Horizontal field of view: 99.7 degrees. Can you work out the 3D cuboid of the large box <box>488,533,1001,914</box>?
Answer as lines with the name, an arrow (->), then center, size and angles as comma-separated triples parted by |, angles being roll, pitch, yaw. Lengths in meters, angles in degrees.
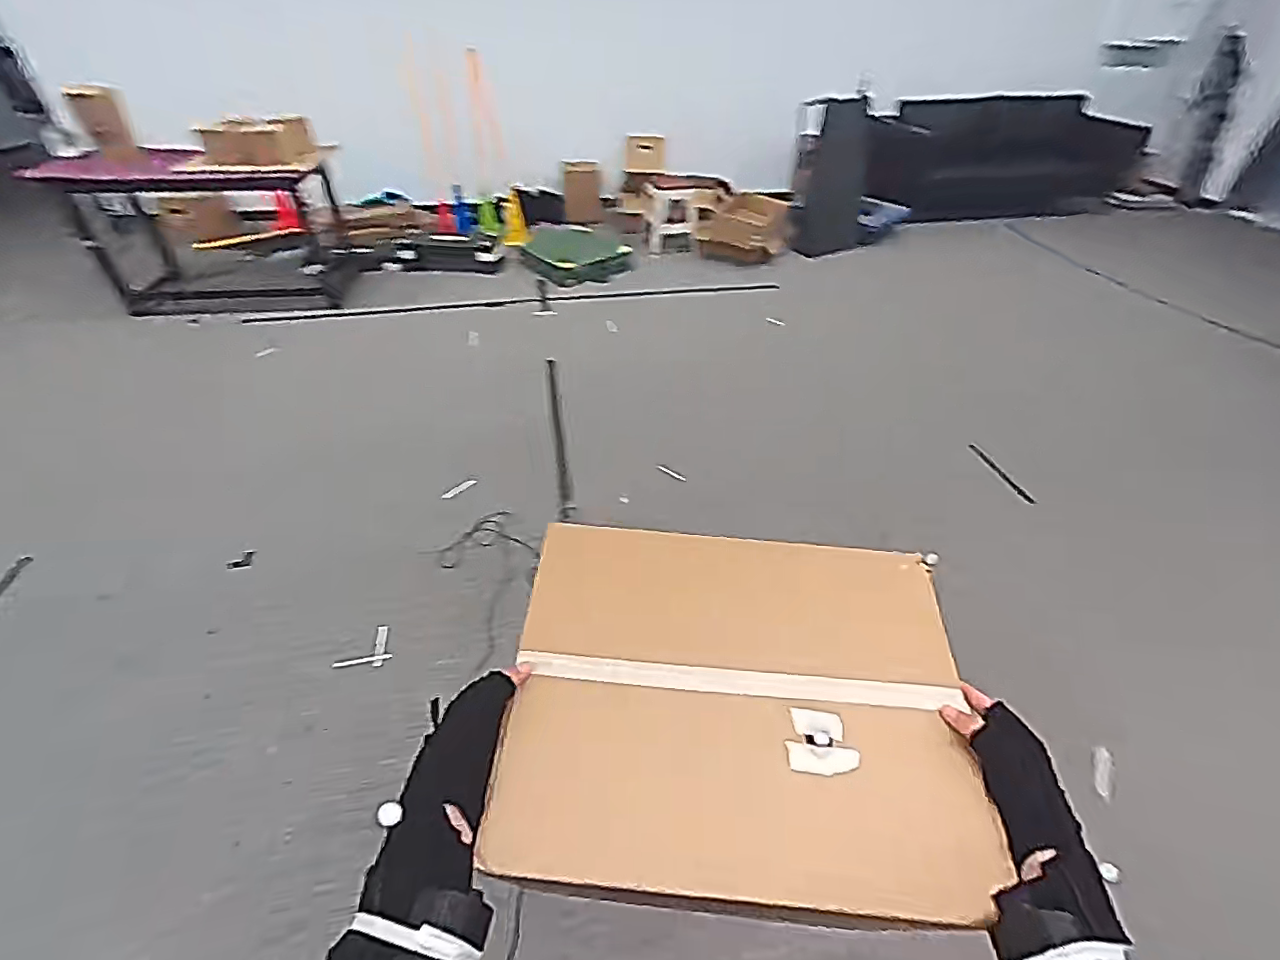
large box -> 0.082, 0.284, 0.620 | 0.408, 0.320, 0.320 | 5, 52, 2
